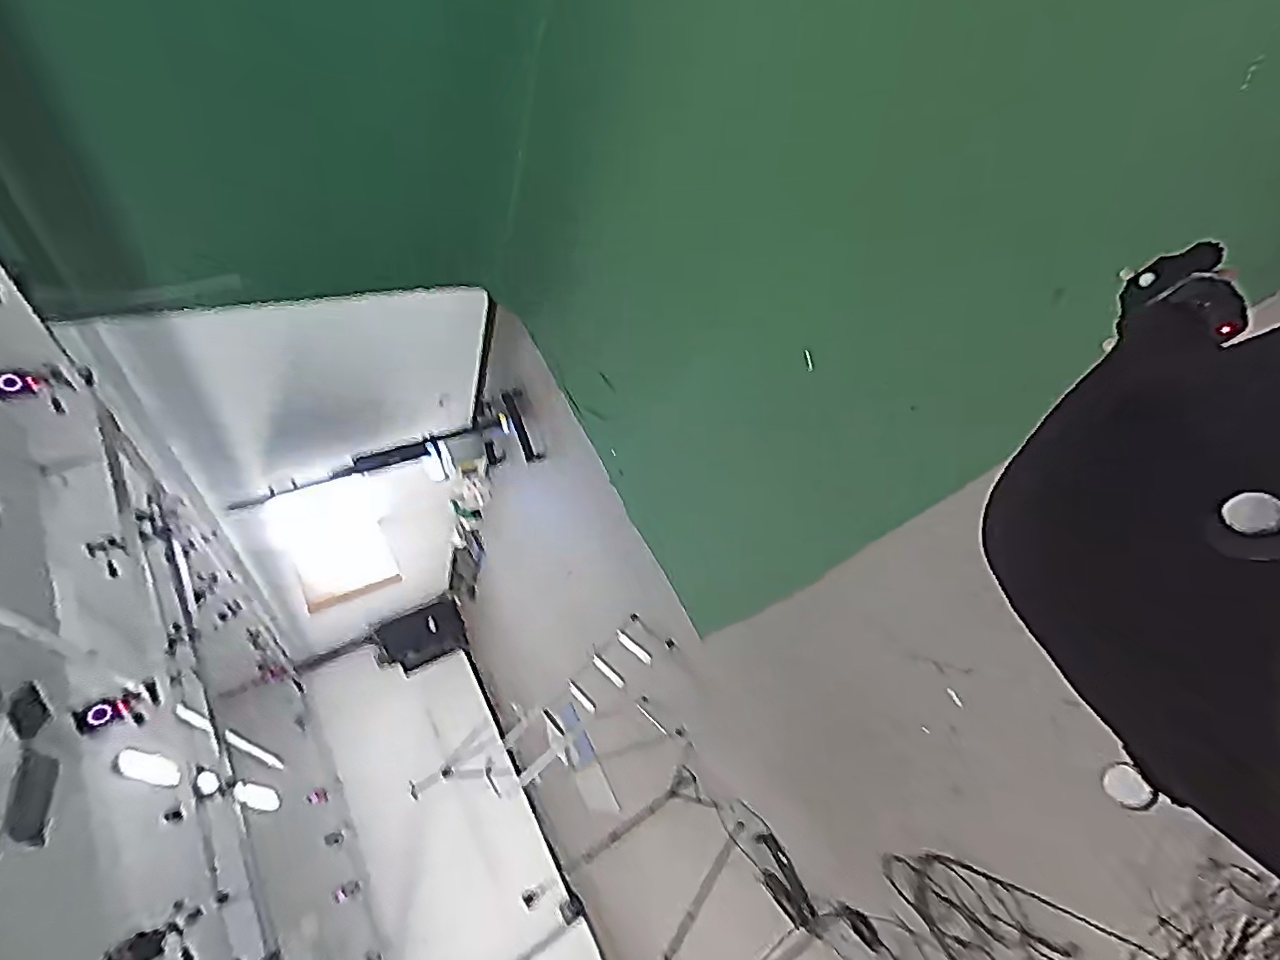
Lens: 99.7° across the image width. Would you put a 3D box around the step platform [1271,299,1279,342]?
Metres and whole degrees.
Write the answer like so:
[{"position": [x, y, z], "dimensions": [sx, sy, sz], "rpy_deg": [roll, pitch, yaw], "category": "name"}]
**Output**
[{"position": [1.246, -0.355, 0.620], "dimensions": [0.286, 0.204, 0.684], "rpy_deg": [58, 147, 19], "category": "step platform"}]
